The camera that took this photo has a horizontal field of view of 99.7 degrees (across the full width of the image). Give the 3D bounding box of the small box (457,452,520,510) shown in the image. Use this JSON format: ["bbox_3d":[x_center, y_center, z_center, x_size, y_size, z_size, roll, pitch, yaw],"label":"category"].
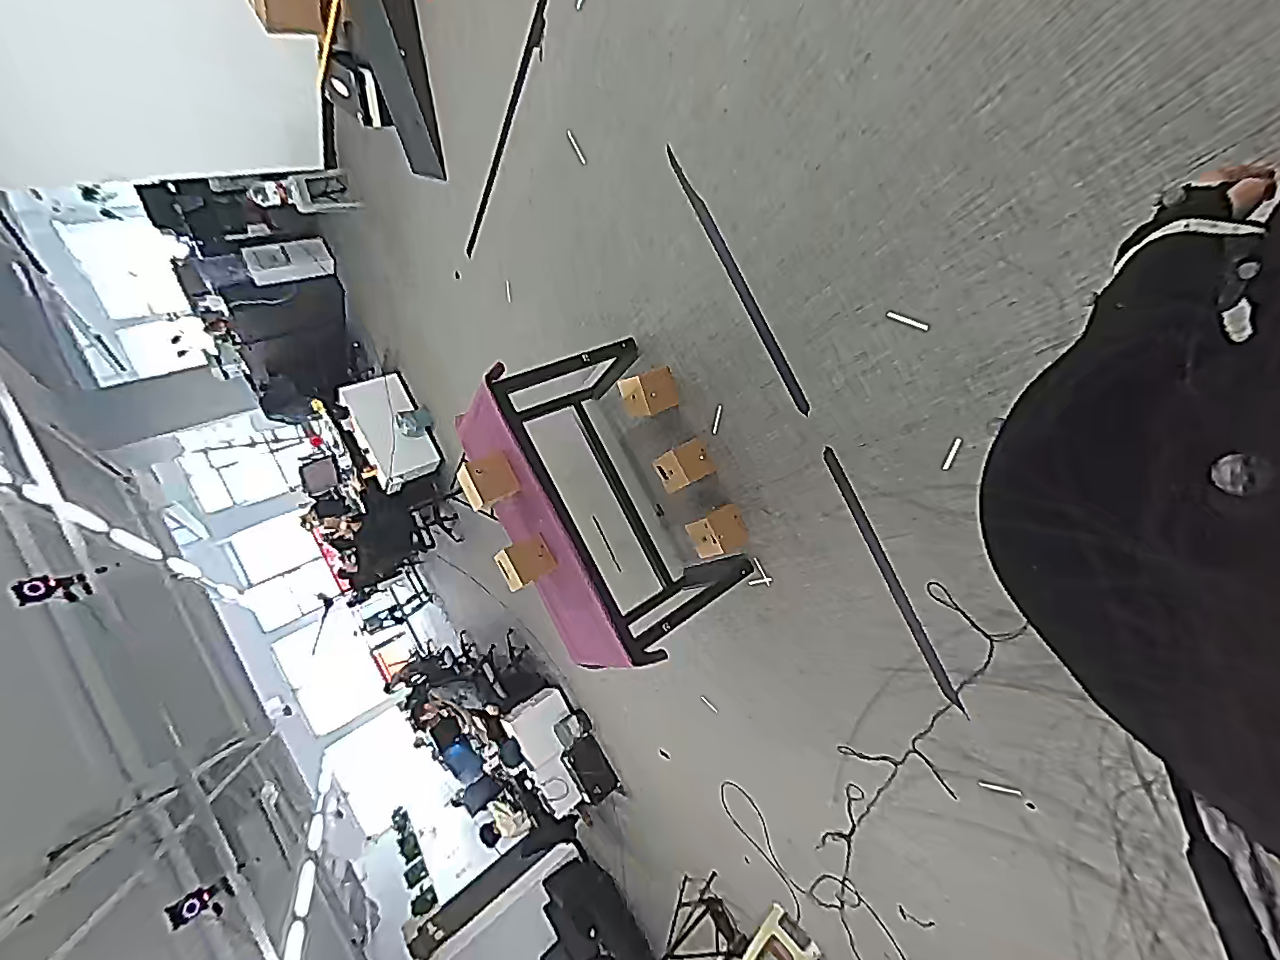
[{"bbox_3d":[-0.611,-0.002,2.178,0.168,0.176,0.179,-26,91,59],"label":"small box"}]

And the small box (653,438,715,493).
[{"bbox_3d":[0.194,-0.064,2.357,0.168,0.176,0.179,62,147,2],"label":"small box"}]

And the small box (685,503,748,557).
[{"bbox_3d":[0.335,0.219,2.357,0.168,0.176,0.179,63,149,0],"label":"small box"}]

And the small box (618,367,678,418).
[{"bbox_3d":[0.039,-0.385,2.353,0.168,0.176,0.179,0,114,54],"label":"small box"}]
